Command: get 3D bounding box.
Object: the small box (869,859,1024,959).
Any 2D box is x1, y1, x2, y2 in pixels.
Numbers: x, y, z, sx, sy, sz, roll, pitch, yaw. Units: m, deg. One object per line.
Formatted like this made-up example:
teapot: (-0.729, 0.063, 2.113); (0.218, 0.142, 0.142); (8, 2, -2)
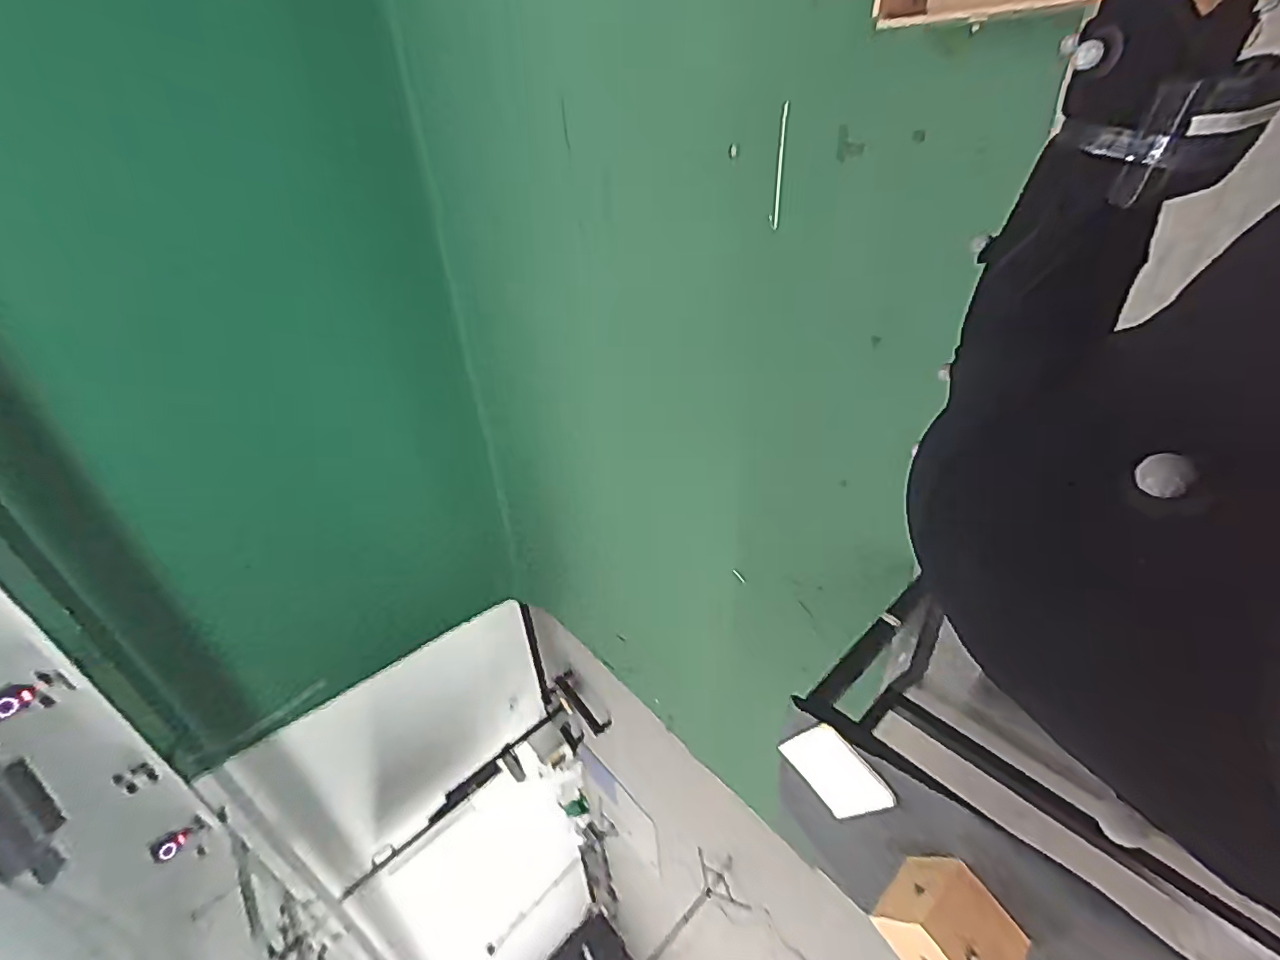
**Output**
small box: (0.603, 0.889, 1.069); (0.179, 0.176, 0.168); (49, 145, 17)
